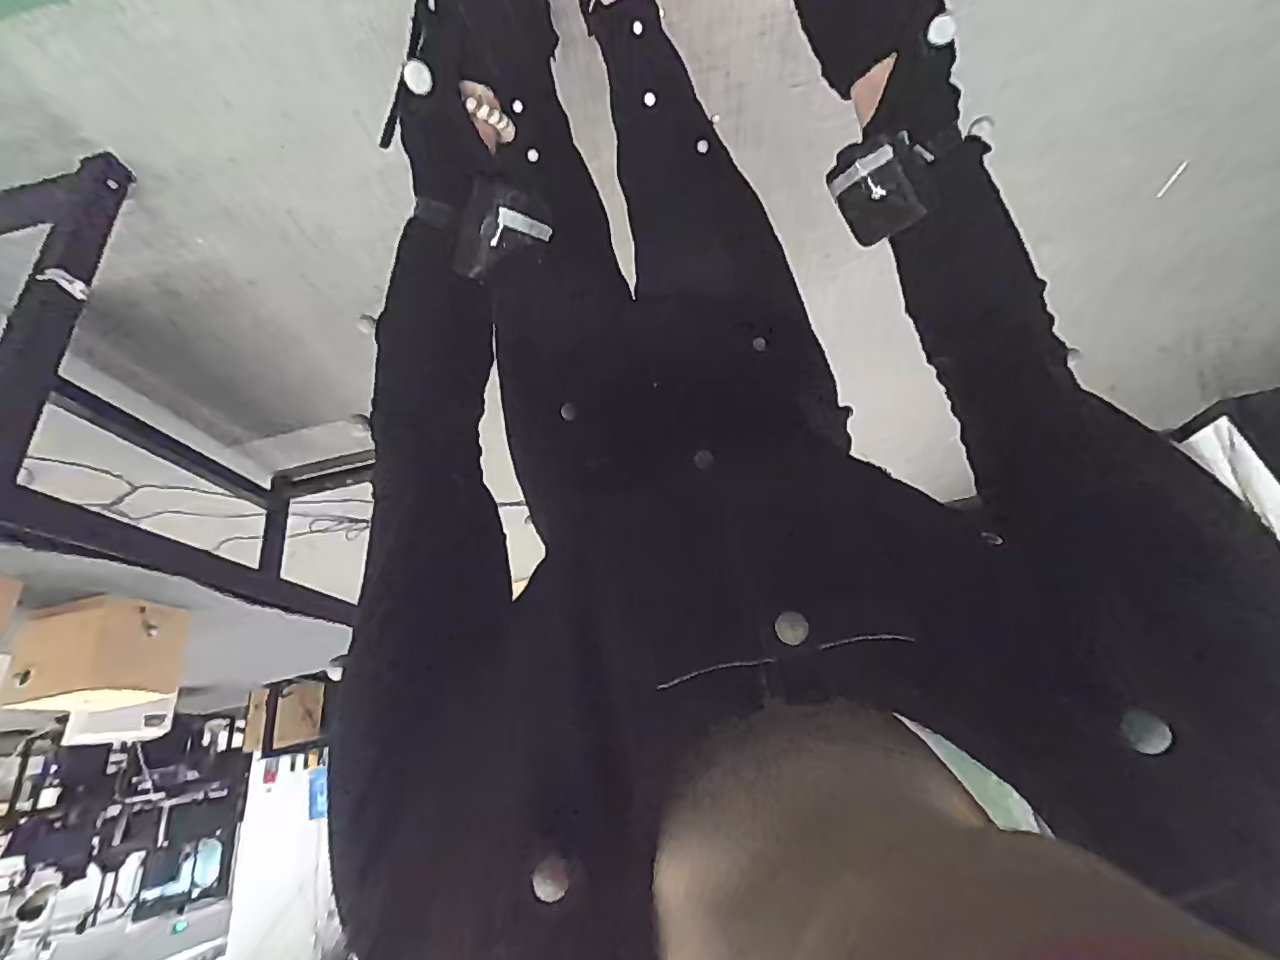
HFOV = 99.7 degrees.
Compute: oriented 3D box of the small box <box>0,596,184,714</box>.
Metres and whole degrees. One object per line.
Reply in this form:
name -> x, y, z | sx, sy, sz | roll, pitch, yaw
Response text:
small box -> -0.999, 0.327, 0.999 | 0.179, 0.176, 0.168 | -12, 155, 4
